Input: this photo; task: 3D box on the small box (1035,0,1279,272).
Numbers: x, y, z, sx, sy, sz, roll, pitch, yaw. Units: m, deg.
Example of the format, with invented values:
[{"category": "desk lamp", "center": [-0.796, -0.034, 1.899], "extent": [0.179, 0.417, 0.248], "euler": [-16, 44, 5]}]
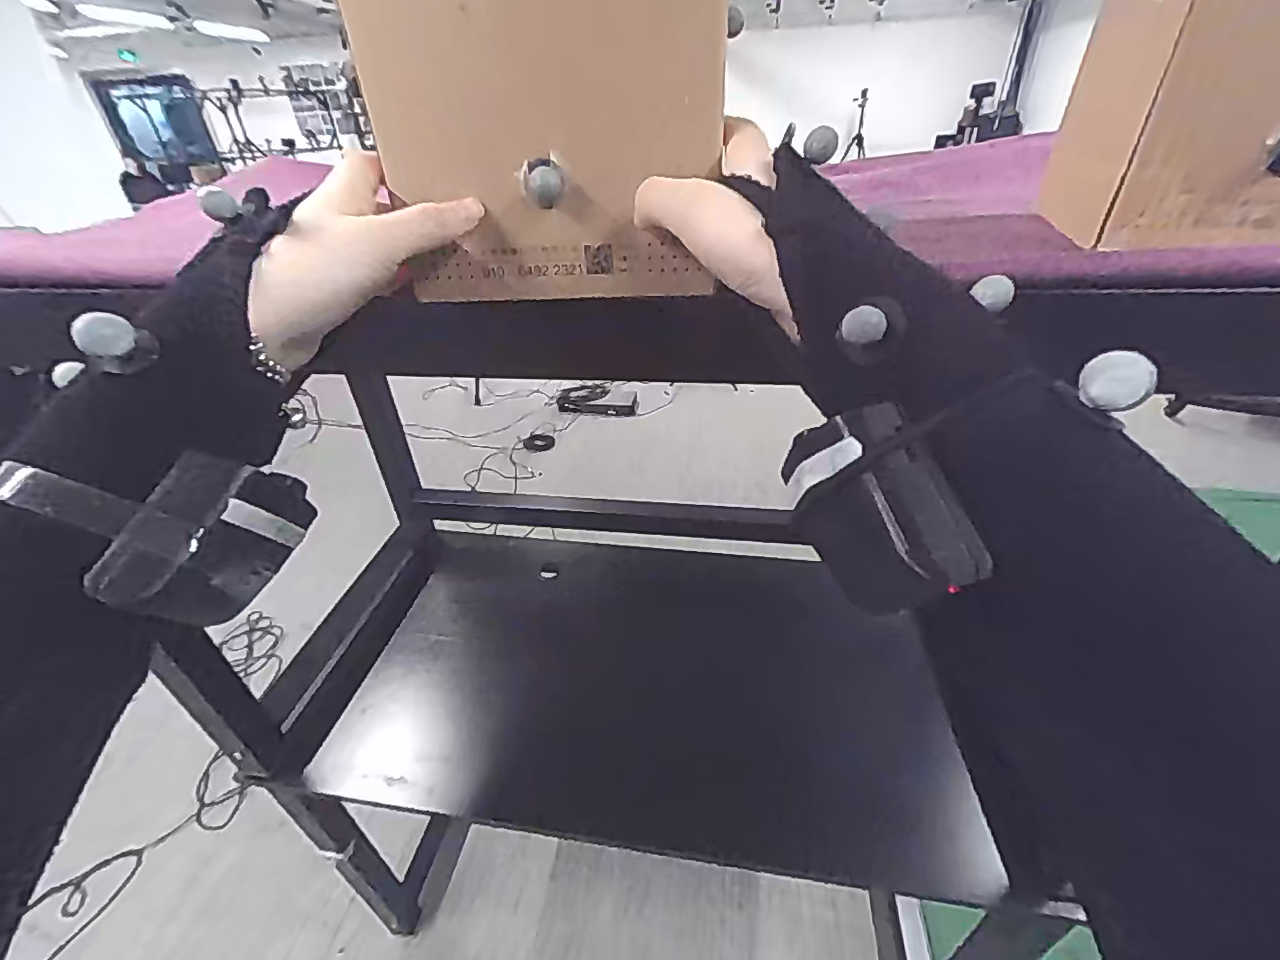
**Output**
[{"category": "small box", "center": [0.373, -0.231, 0.323], "extent": [0.168, 0.176, 0.179], "euler": [9, 38, 17]}]

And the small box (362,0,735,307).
[{"category": "small box", "center": [-0.036, -0.209, 0.316], "extent": [0.168, 0.176, 0.179], "euler": [-1, 35, 4]}]
